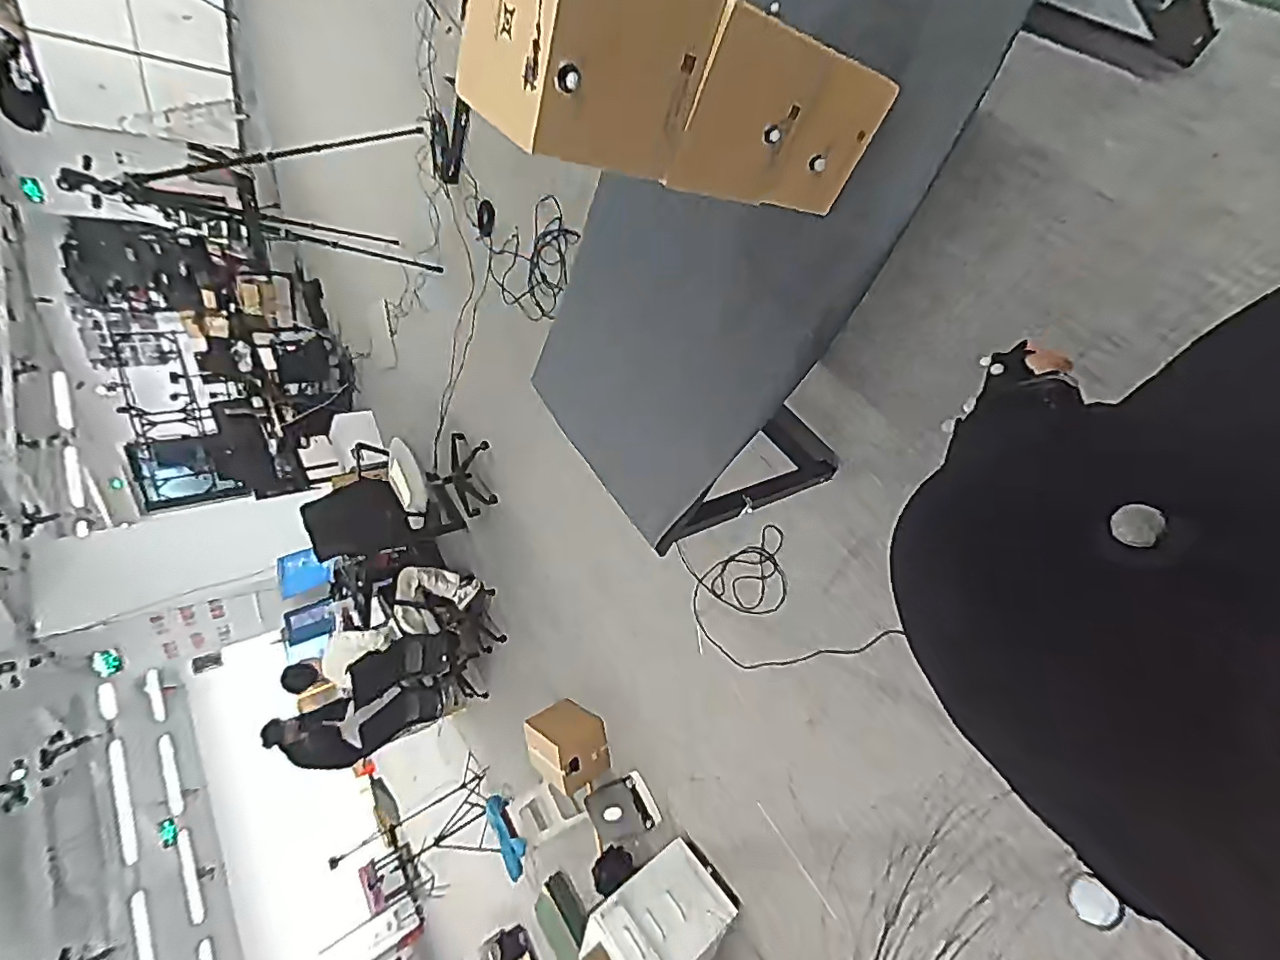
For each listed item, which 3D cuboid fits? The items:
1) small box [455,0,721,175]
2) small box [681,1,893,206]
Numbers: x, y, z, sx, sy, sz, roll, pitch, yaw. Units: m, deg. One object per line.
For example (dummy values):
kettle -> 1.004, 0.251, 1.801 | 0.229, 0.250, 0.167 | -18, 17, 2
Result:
small box -> -0.057, -0.418, 0.521 | 0.179, 0.176, 0.168 | 51, 136, 29
small box -> 0.193, -0.487, 0.722 | 0.179, 0.176, 0.168 | 53, 137, 26
